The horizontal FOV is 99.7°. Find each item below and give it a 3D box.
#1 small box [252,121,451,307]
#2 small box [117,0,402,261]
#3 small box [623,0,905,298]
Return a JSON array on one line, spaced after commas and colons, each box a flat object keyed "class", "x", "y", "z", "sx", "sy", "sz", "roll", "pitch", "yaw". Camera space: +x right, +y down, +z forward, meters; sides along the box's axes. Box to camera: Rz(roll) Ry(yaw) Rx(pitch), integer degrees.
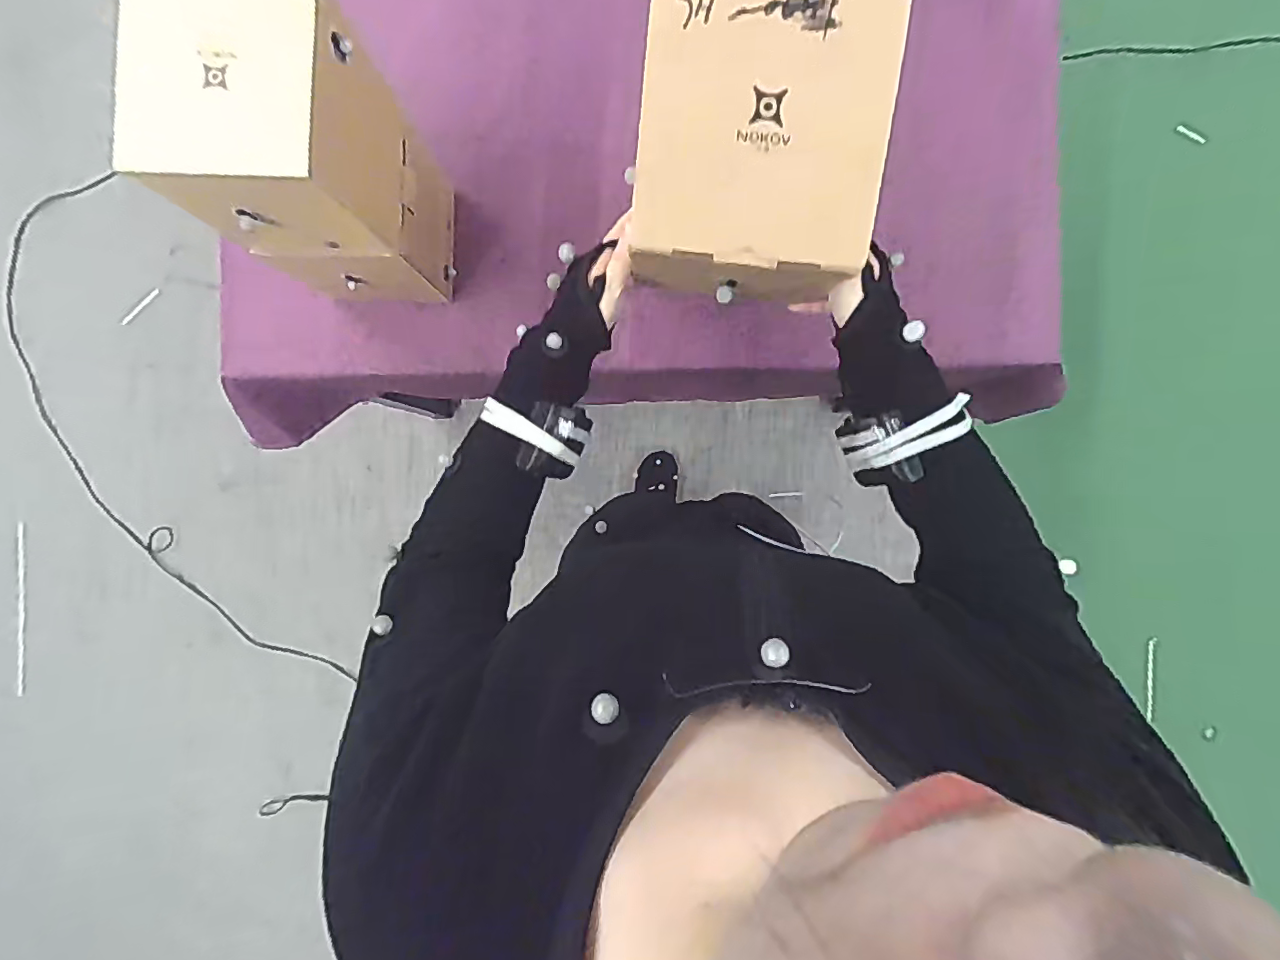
[{"class": "small box", "x": -0.355, "y": -0.331, "z": 0.696, "sx": 0.179, "sy": 0.176, "sz": 0.168, "roll": 1, "pitch": 90, "yaw": 0}, {"class": "small box", "x": -0.352, "y": -0.334, "z": 0.533, "sx": 0.168, "sy": 0.176, "sz": 0.179, "roll": 2, "pitch": 89, "yaw": 0}, {"class": "small box", "x": 0.082, "y": -0.252, "z": 0.439, "sx": 0.168, "sy": 0.176, "sz": 0.179, "roll": 6, "pitch": 102, "yaw": 0}]
